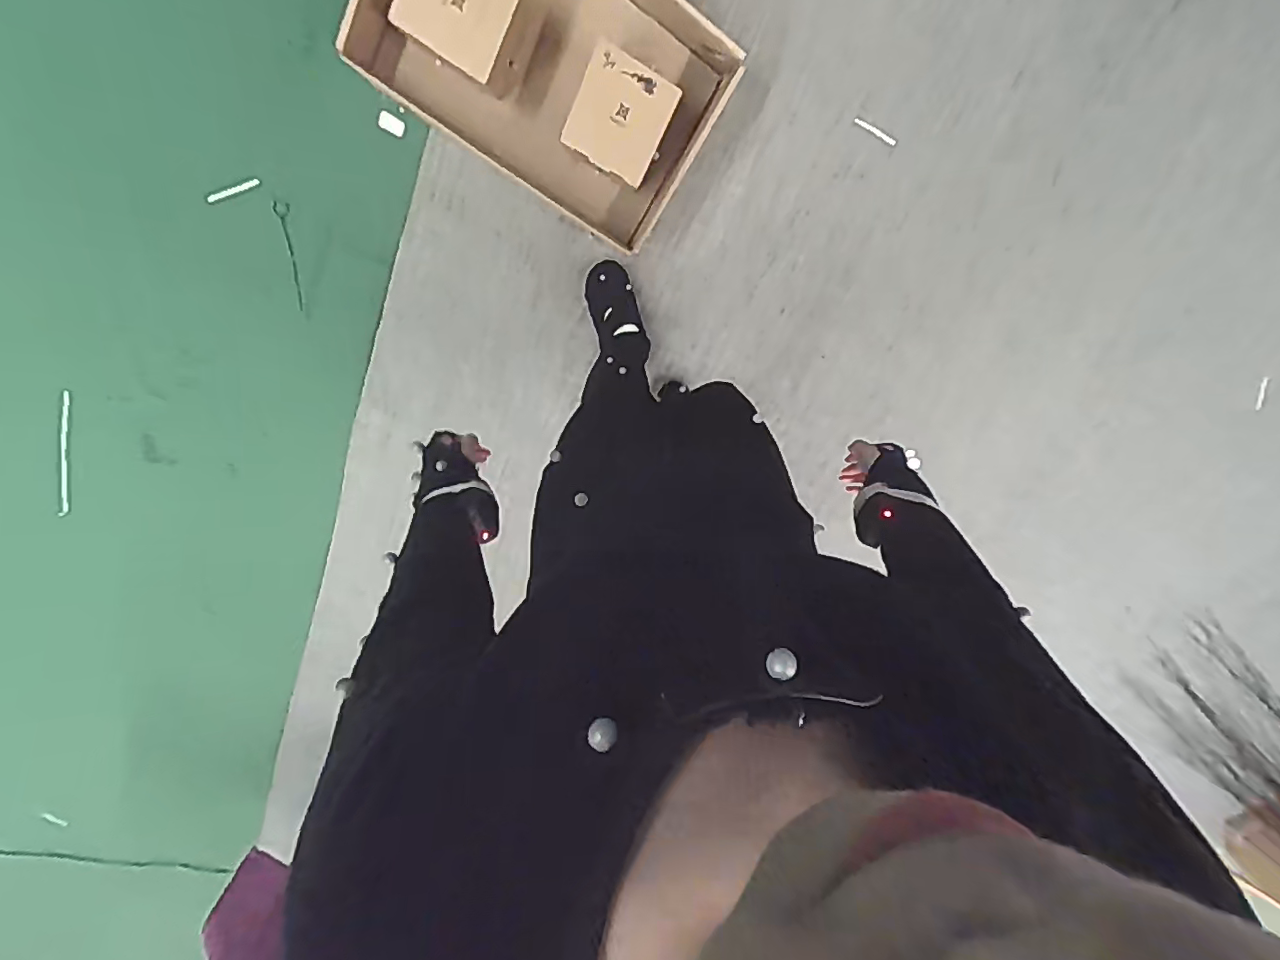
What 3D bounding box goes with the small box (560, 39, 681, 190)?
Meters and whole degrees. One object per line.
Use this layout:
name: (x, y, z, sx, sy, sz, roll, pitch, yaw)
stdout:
small box: (-0.039, -0.687, 1.043, 0.168, 0.176, 0.179, 24, 113, -16)
